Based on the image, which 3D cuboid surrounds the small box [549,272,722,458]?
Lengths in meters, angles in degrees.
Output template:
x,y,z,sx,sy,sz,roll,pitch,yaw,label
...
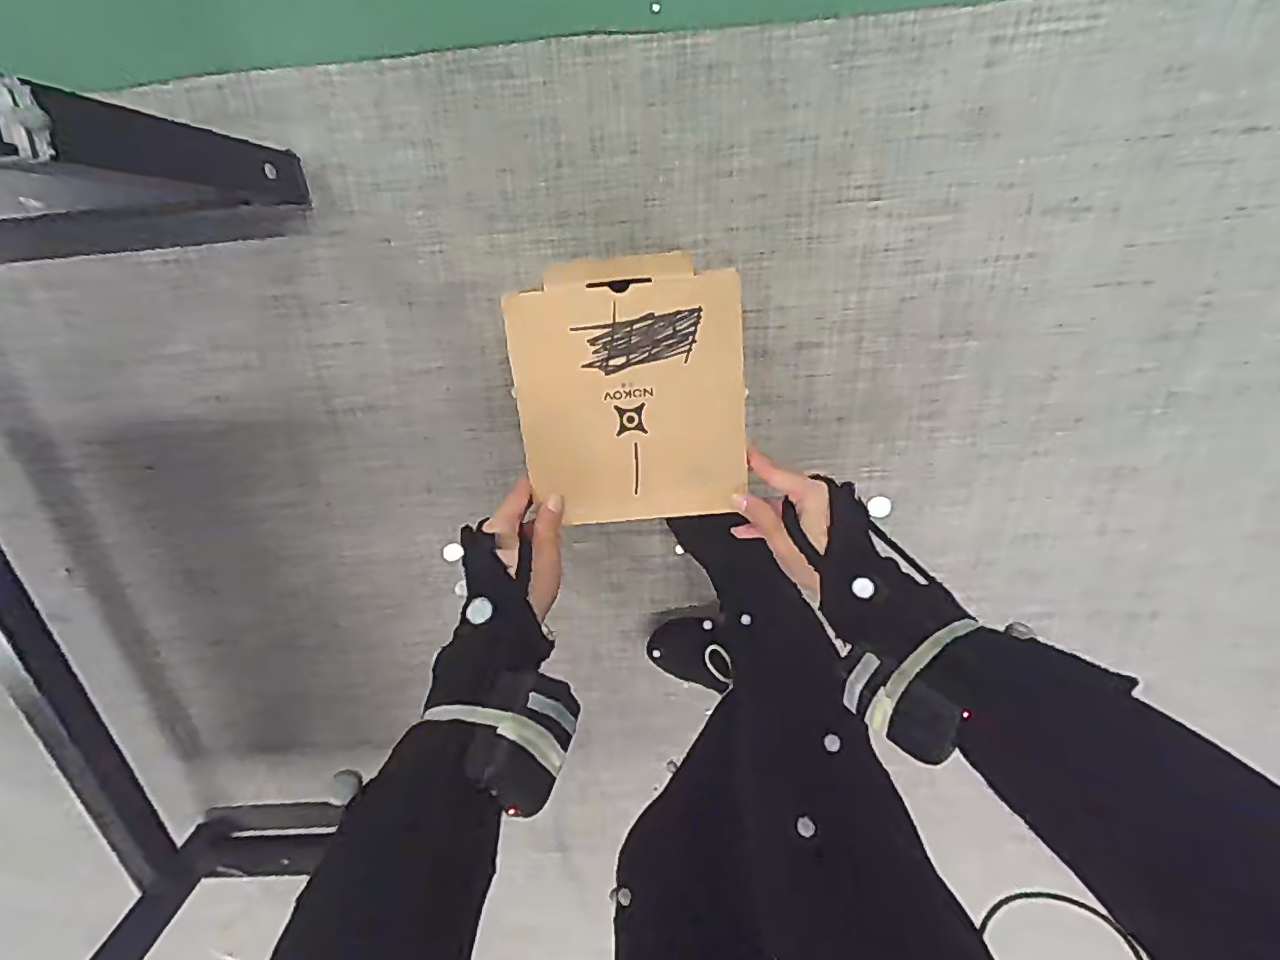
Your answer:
x,y,z,sx,sy,sz,roll,pitch,yaw,label
0.000,-0.143,0.639,0.168,0.176,0.179,-7,112,5,small box
